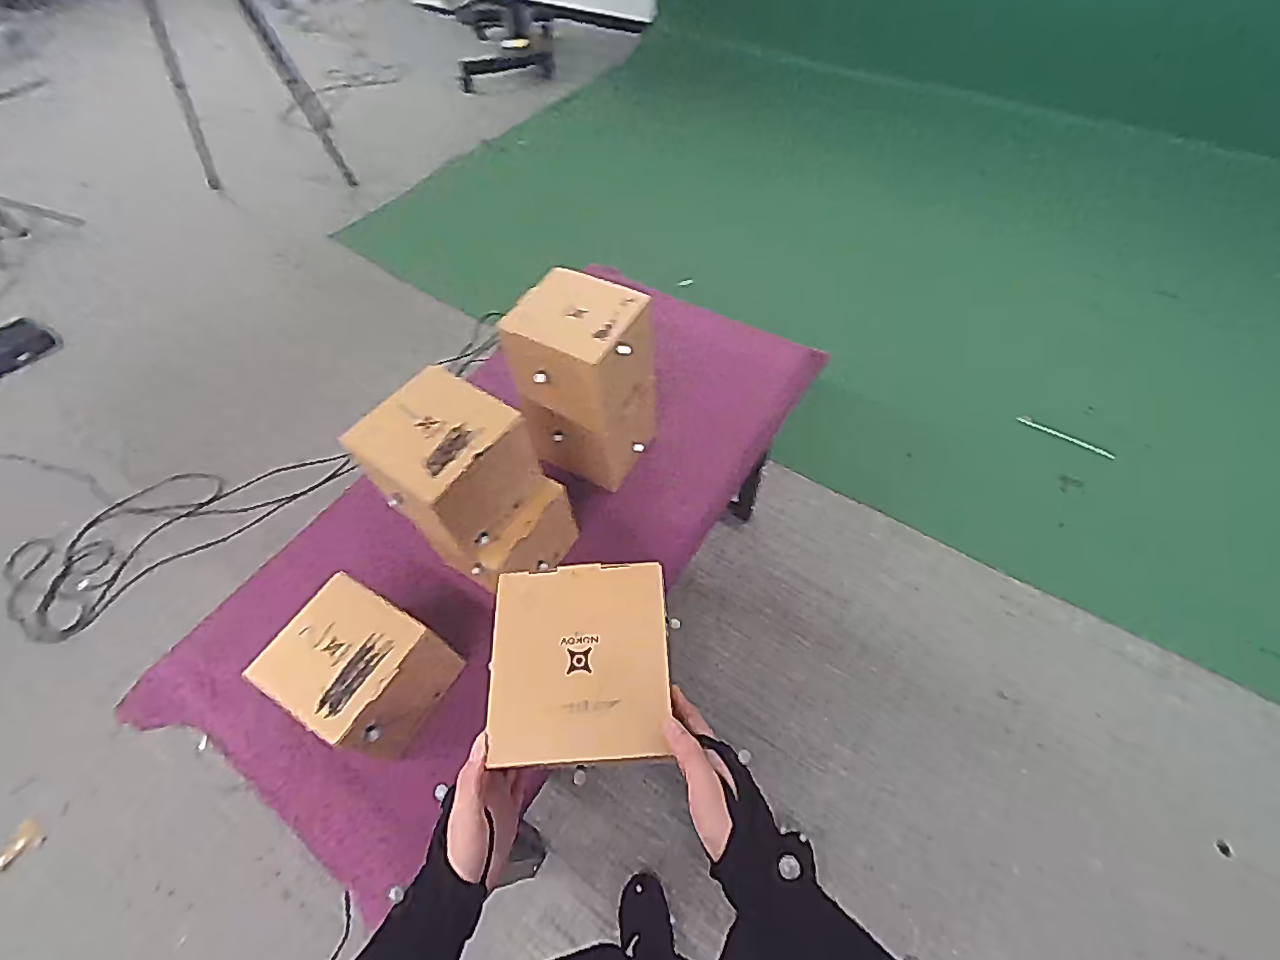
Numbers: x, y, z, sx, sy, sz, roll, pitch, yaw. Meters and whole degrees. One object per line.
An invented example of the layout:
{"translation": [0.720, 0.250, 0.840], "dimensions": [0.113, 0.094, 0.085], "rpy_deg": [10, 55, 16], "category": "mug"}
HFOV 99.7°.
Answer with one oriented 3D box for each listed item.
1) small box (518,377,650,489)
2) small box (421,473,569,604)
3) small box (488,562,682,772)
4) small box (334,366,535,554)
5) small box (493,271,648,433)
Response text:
{"translation": [-0.095, -0.110, 1.008], "dimensions": [0.179, 0.176, 0.168], "rpy_deg": [24, 60, 17], "category": "small box"}
{"translation": [-0.237, 0.080, 0.888], "dimensions": [0.179, 0.176, 0.168], "rpy_deg": [26, 60, 17], "category": "small box"}
{"translation": [-0.045, 0.199, 0.562], "dimensions": [0.168, 0.176, 0.179], "rpy_deg": [-4, 60, 2], "category": "small box"}
{"translation": [-0.272, -0.020, 0.758], "dimensions": [0.179, 0.176, 0.168], "rpy_deg": [29, 62, 20], "category": "small box"}
{"translation": [-0.101, -0.202, 0.873], "dimensions": [0.179, 0.176, 0.168], "rpy_deg": [23, 61, 18], "category": "small box"}
